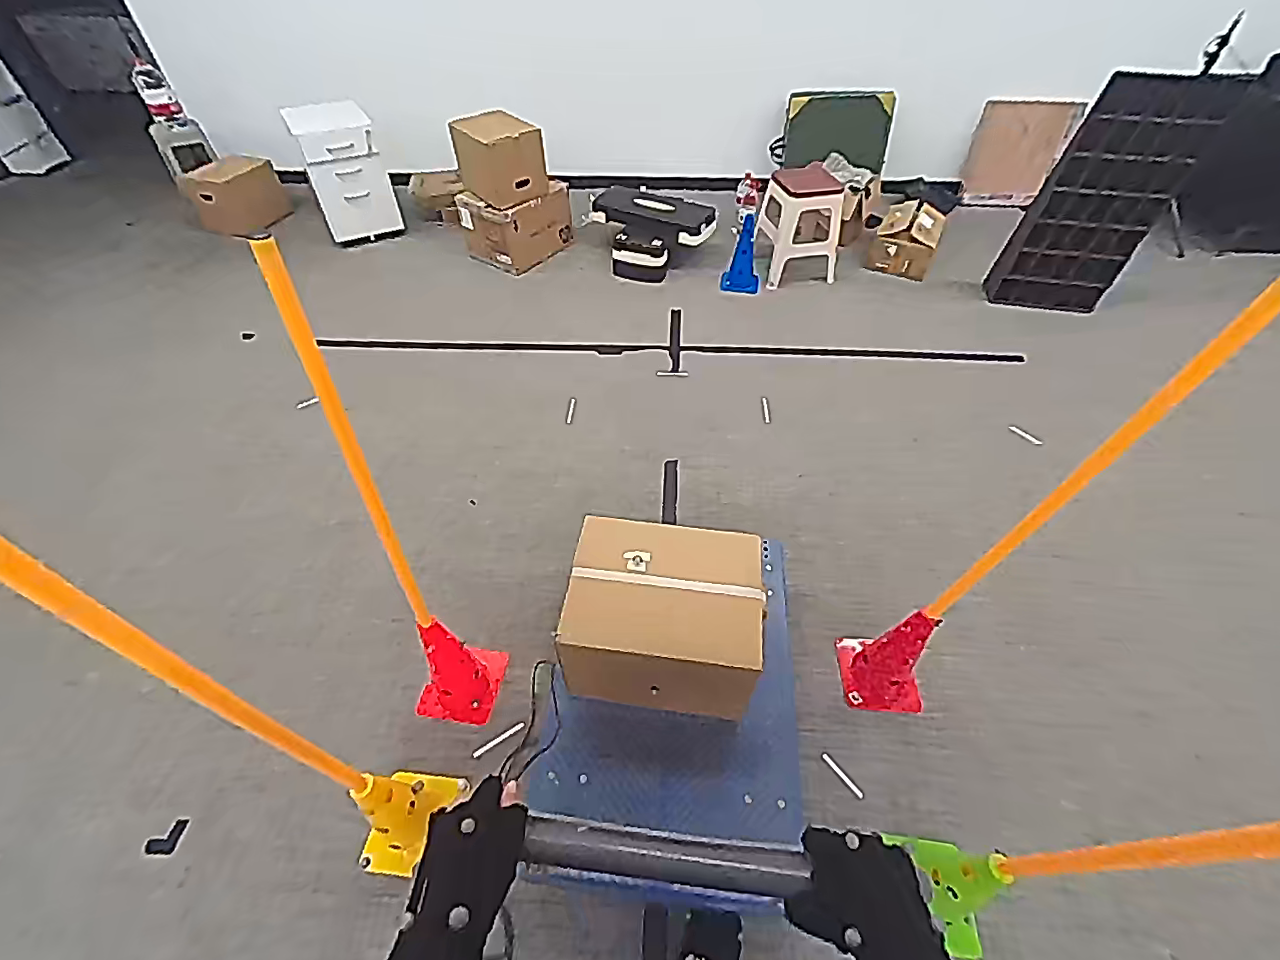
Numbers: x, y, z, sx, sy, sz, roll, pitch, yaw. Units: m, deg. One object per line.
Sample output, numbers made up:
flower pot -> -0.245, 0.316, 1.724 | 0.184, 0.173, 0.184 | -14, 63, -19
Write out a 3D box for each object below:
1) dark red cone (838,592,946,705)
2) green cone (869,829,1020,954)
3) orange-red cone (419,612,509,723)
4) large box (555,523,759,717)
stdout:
dark red cone -> 0.659, 0.400, 1.353 | 0.201, 0.394, 0.202 | 4, 48, 1
green cone -> 0.611, 0.770, 1.043 | 0.202, 0.368, 0.200 | 6, 48, 4
orange-red cone -> -0.475, 0.432, 1.350 | 0.198, 0.360, 0.199 | 9, 47, 7
large box -> 0.051, 0.326, 1.250 | 0.408, 0.320, 0.320 | 6, 50, 6
